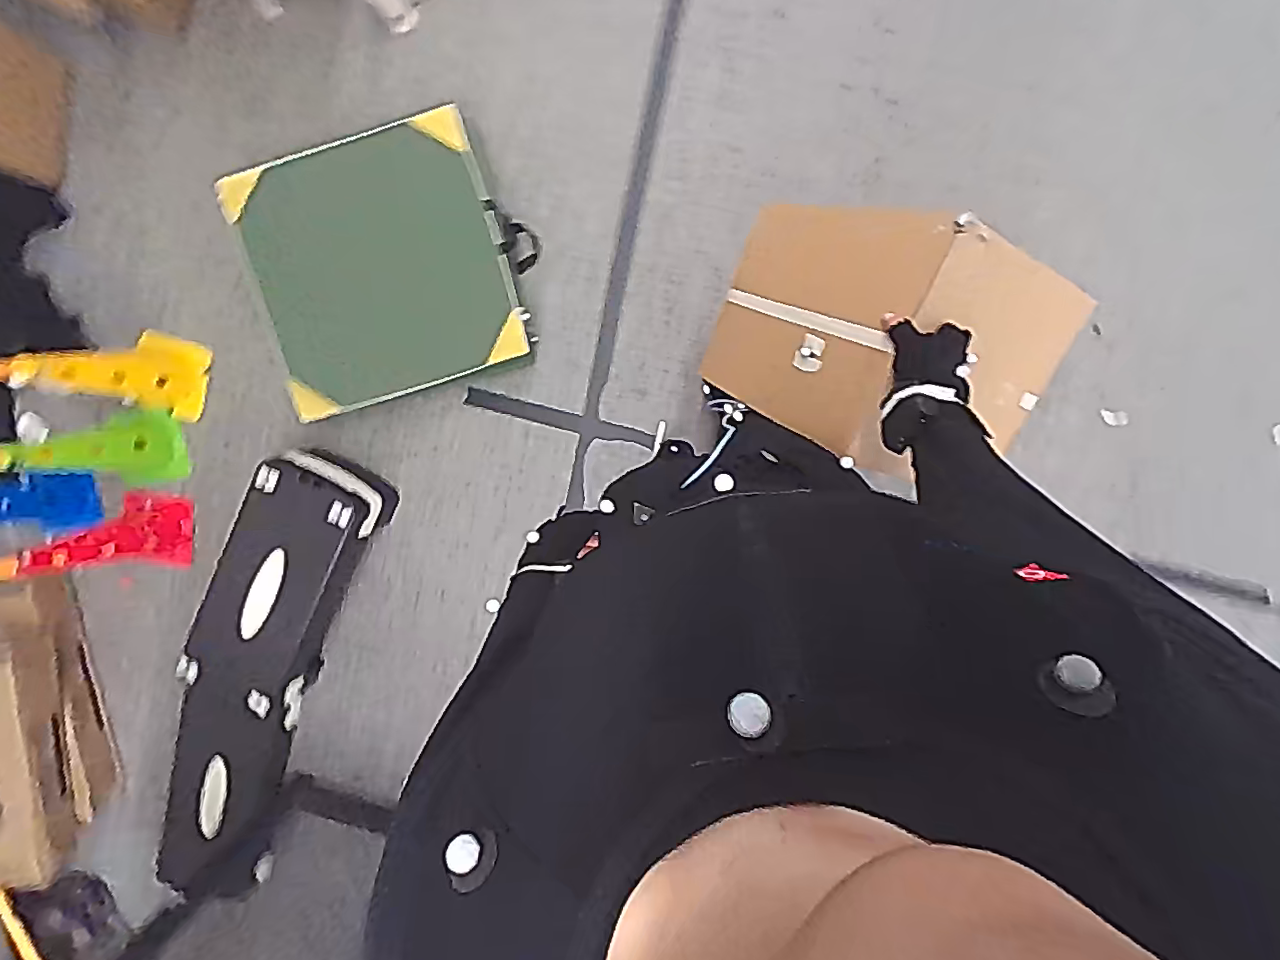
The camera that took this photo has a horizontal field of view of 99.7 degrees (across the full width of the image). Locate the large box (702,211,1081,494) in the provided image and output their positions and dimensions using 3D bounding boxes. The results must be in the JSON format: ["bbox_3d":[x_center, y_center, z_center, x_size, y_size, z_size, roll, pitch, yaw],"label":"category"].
[{"bbox_3d":[0.373,-0.217,0.895,0.320,0.408,0.320,9,113,-30],"label":"large box"}]
